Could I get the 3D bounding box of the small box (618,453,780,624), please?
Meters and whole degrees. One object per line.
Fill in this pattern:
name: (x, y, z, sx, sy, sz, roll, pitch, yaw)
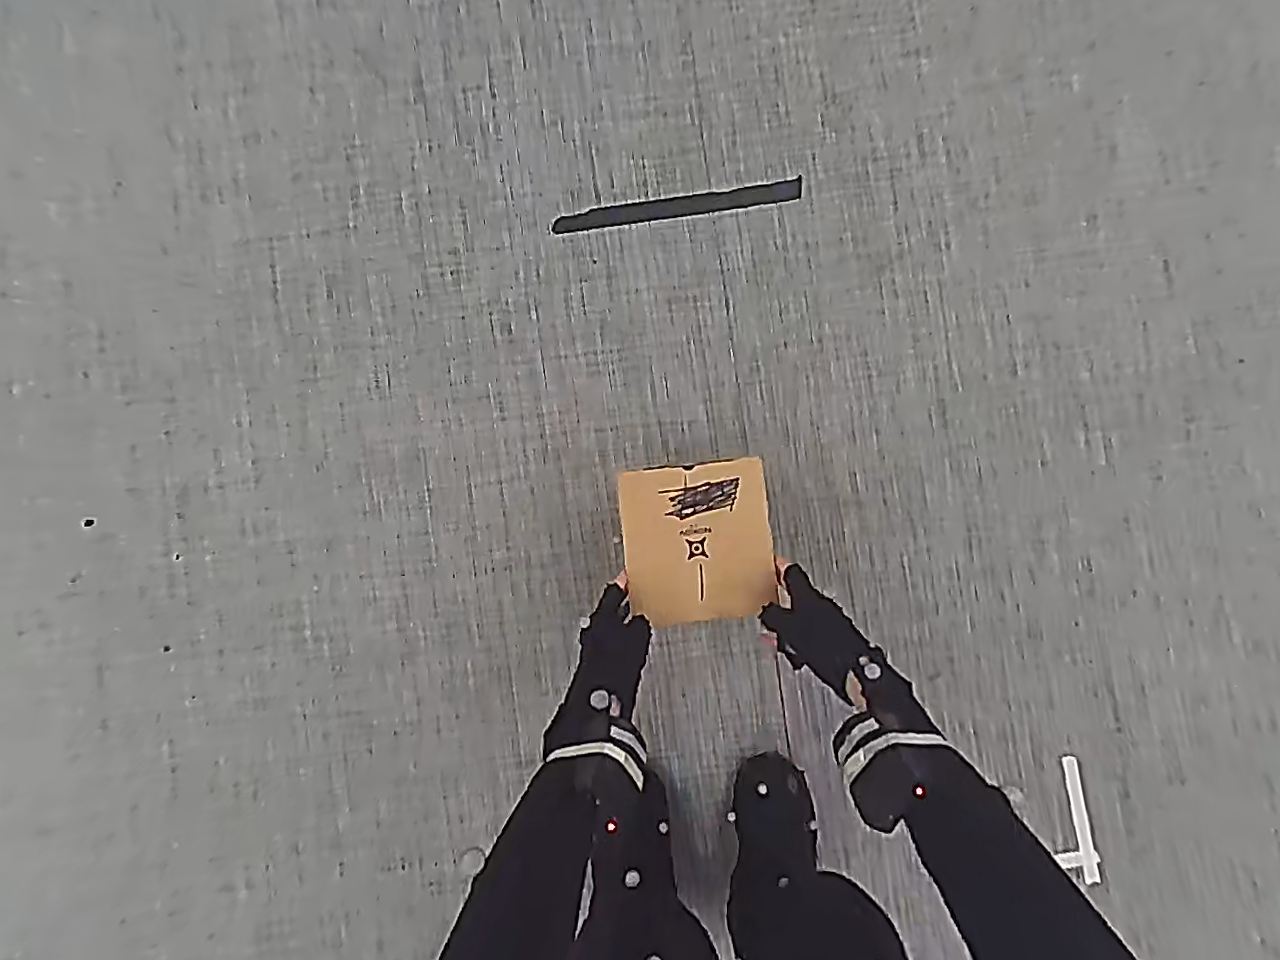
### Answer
small box: (0.064, 0.072, 0.673, 0.168, 0.176, 0.179, -7, 84, 1)
